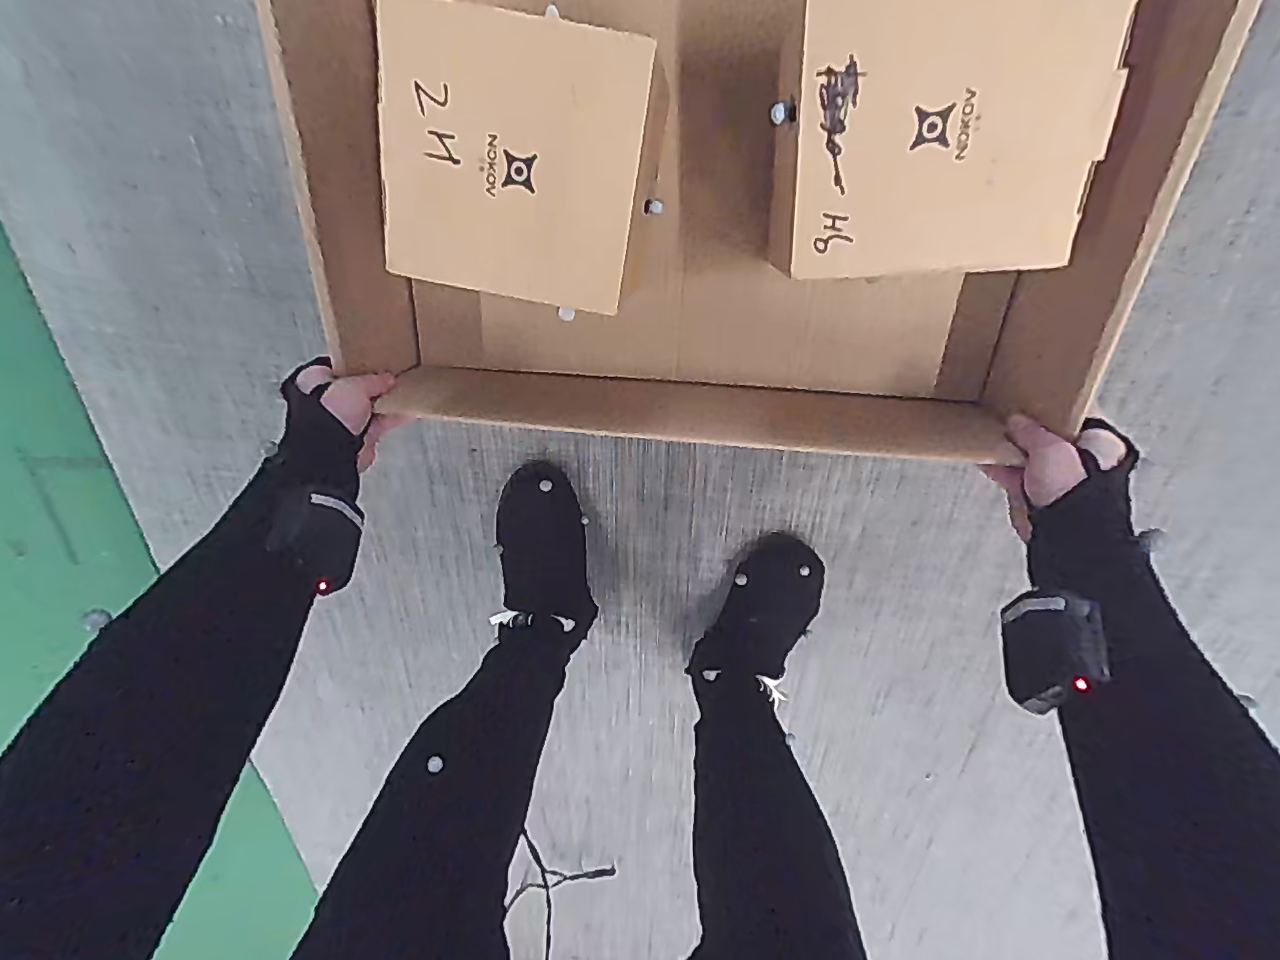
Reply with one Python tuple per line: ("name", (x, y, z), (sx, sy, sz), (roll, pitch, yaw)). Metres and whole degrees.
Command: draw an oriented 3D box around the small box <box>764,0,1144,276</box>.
("small box", (0.188, -0.243, 0.384), (0.179, 0.176, 0.168), (0, 115, 8))
